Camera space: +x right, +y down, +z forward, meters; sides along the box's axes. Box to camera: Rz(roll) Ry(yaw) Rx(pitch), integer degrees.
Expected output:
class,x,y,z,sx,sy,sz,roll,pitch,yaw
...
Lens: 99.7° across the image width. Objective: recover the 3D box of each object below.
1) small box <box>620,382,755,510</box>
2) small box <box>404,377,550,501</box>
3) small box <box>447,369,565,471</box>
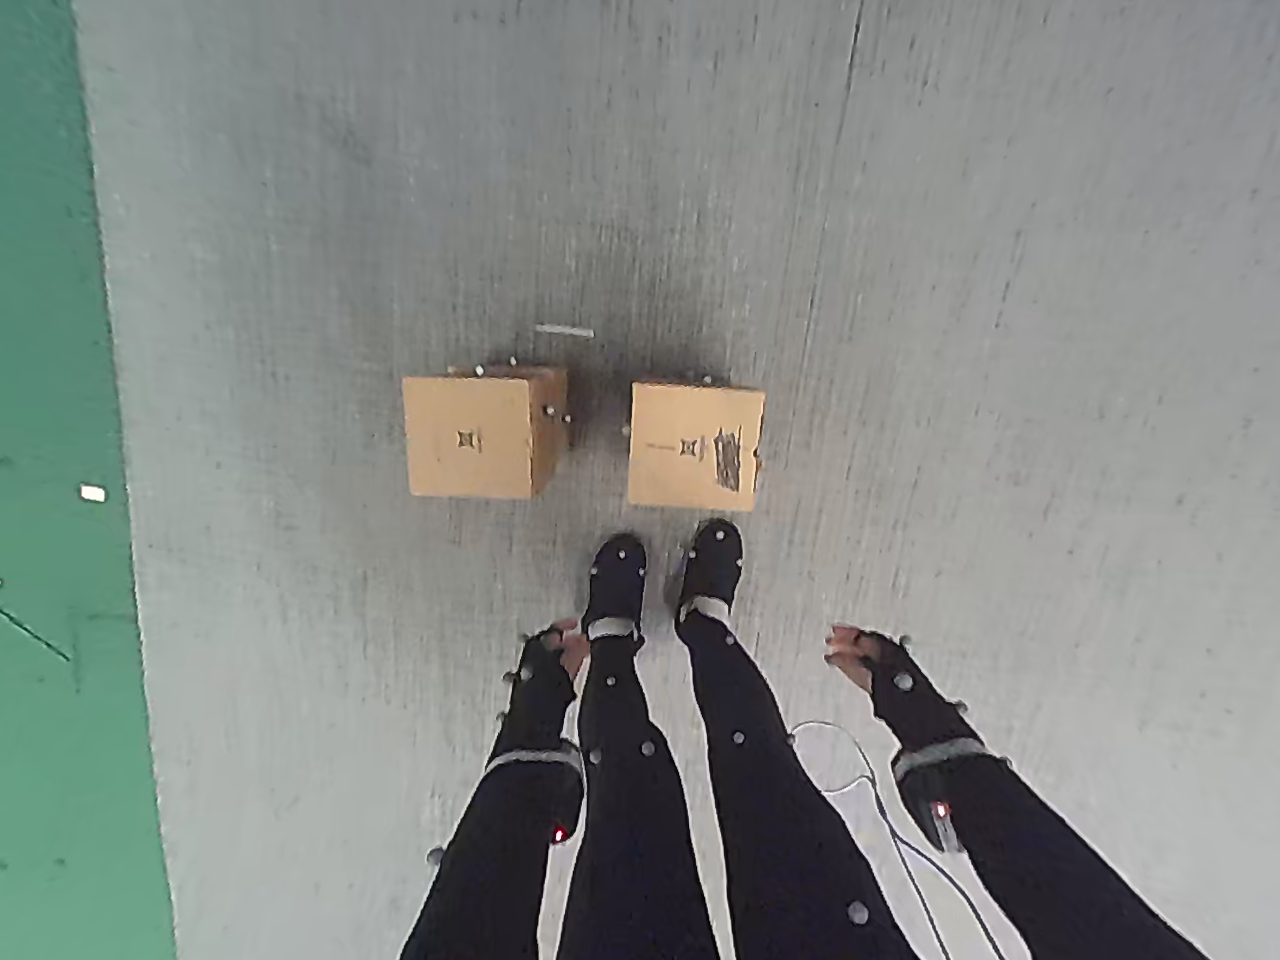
class,x,y,z,sx,sy,sz,roll,pitch,yaw
small box,0.066,-0.059,0.821,0.179,0.176,0.168,4,102,2
small box,-0.236,-0.070,0.829,0.179,0.176,0.168,2,102,2
small box,-0.234,-0.115,0.987,0.179,0.176,0.168,2,102,2
